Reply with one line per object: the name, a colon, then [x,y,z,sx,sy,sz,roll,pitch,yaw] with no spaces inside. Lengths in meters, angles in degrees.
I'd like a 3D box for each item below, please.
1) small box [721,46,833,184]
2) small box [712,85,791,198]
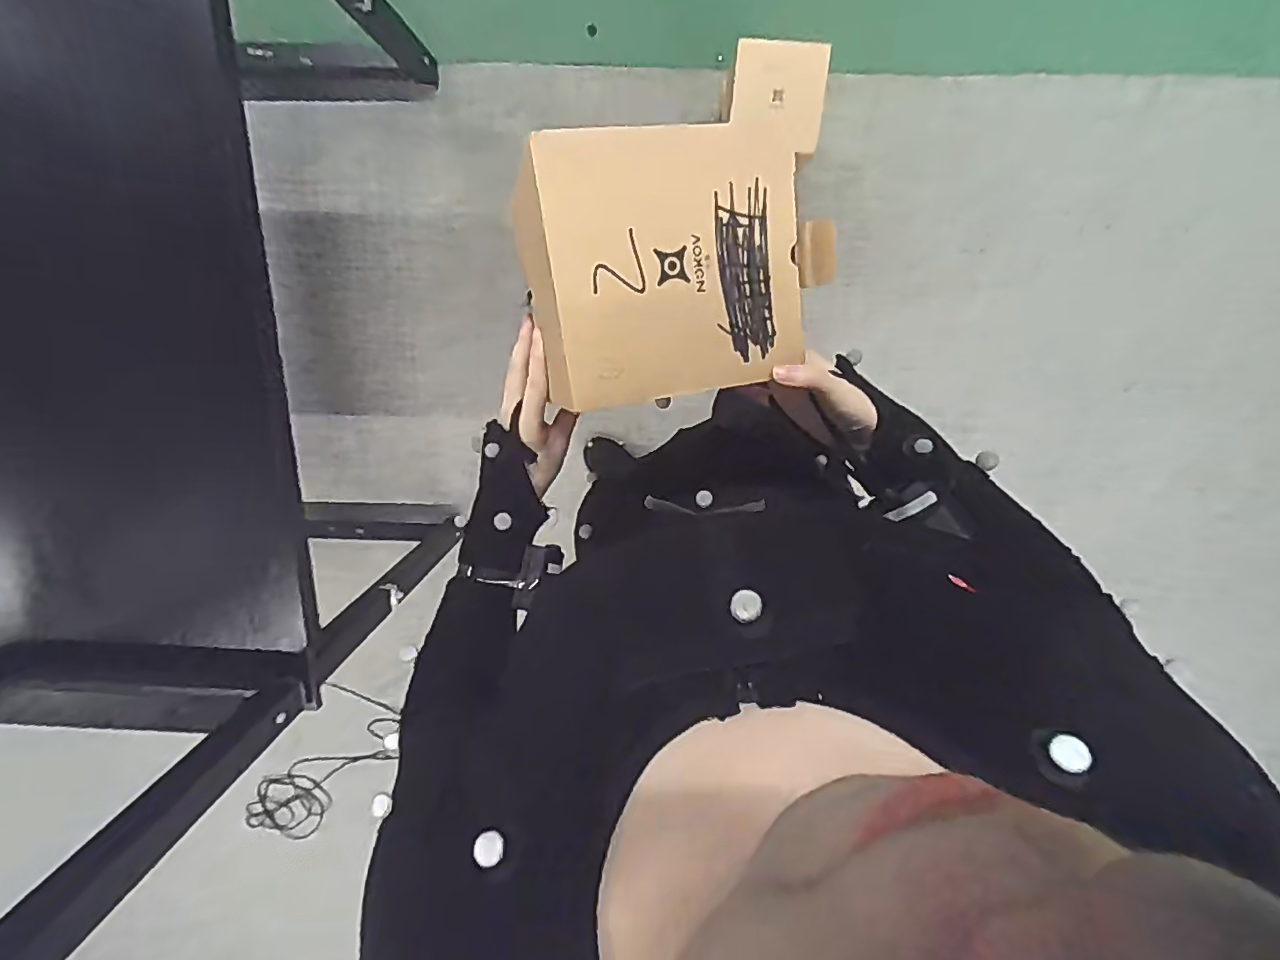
small box: [0.251,-0.686,1.037,0.168,0.176,0.179,4,105,0]
small box: [0.259,-0.735,1.191,0.179,0.176,0.168,5,106,0]
